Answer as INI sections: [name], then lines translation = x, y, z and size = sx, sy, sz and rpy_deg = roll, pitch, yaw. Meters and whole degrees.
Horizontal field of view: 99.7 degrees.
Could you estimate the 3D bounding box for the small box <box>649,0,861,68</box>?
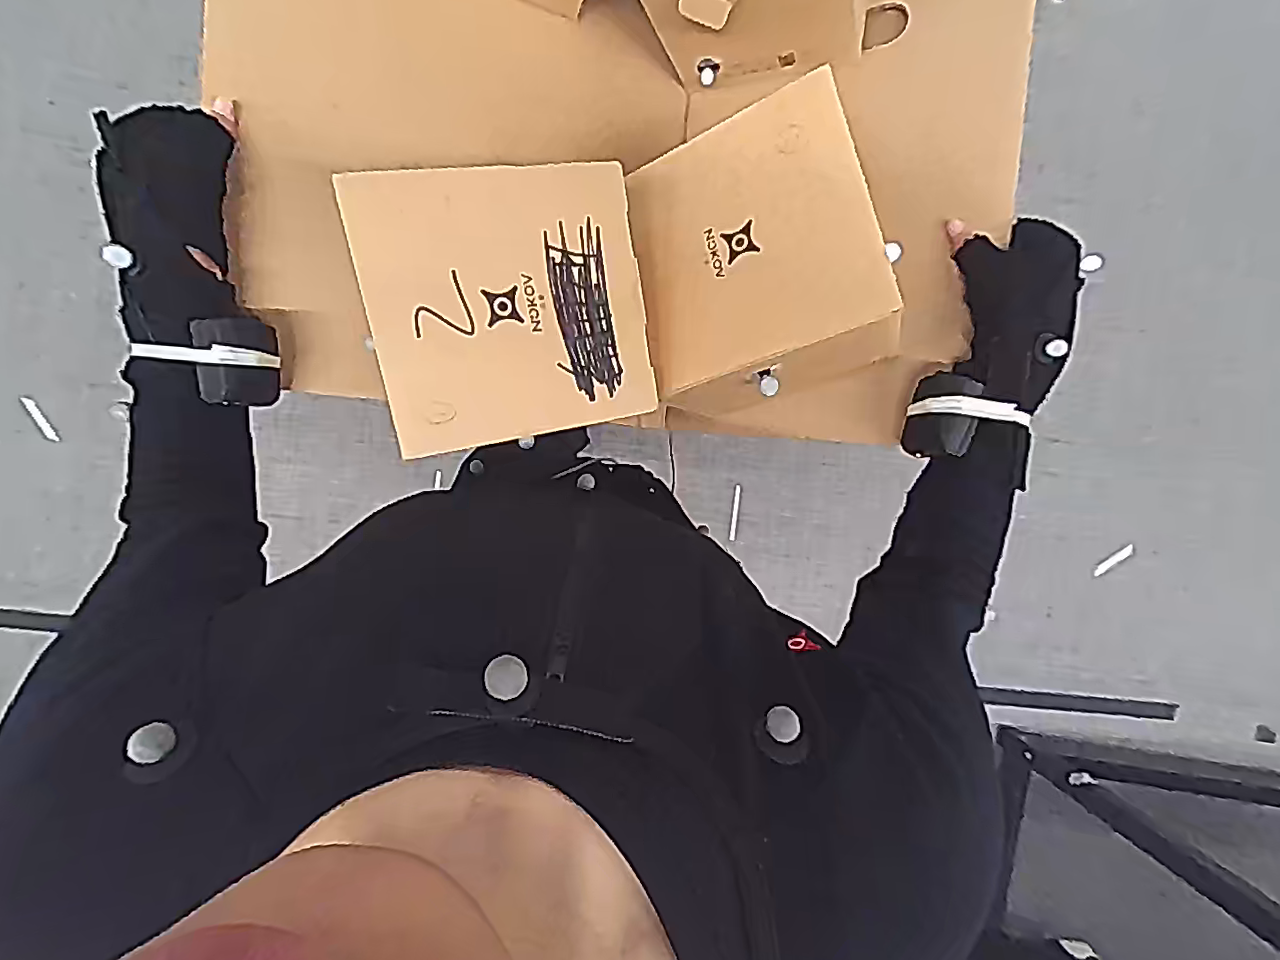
[small box]
translation = 0.097, -0.478, 0.440
size = 0.168, 0.176, 0.179
rpy_deg = 8, 92, 24
